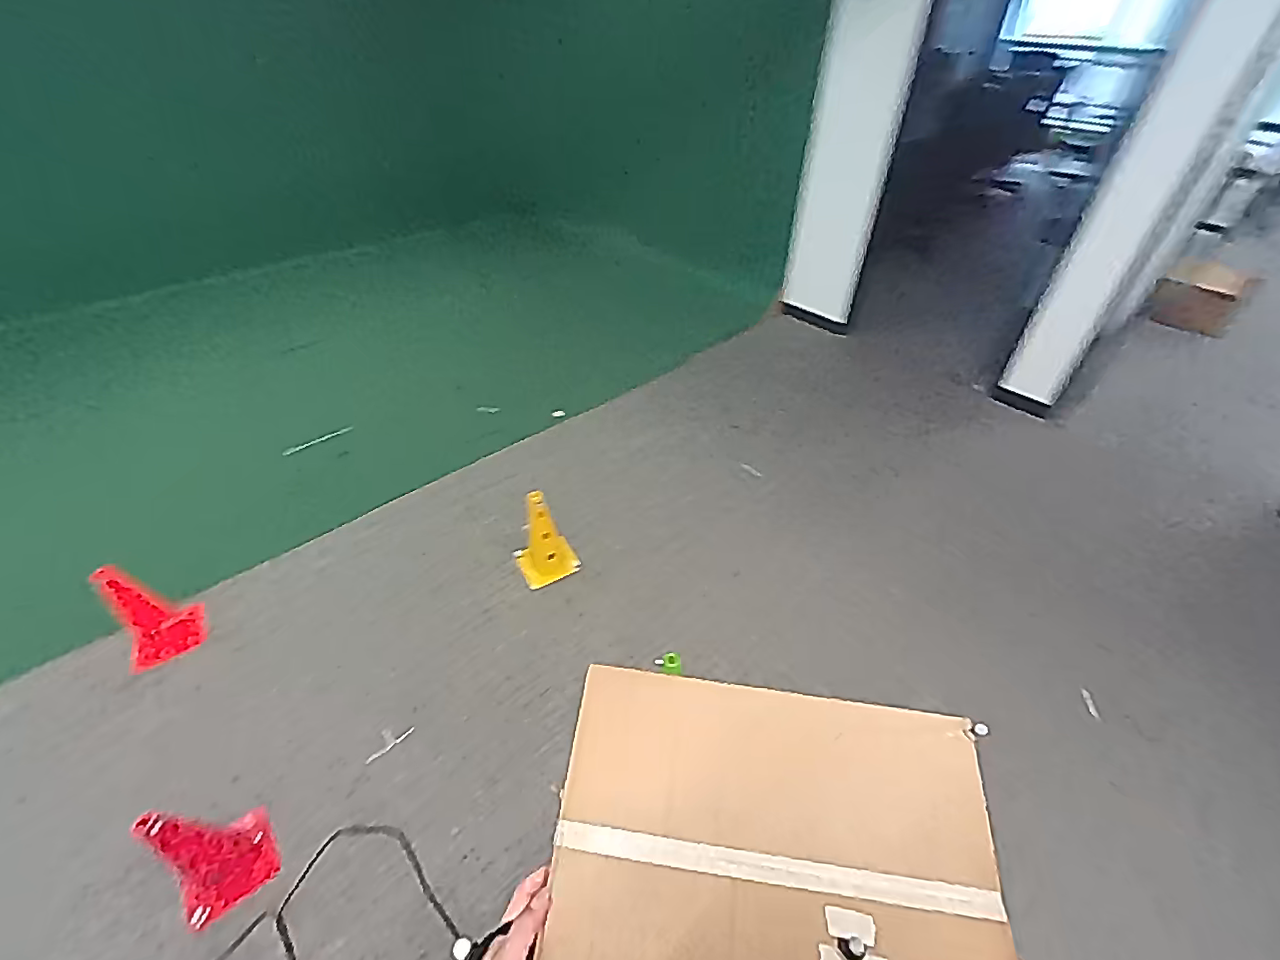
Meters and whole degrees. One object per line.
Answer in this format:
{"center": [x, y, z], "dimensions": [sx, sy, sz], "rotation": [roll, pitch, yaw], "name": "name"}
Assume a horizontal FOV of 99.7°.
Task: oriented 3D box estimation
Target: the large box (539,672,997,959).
{"center": [0.115, 0.438, 0.629], "dimensions": [0.408, 0.320, 0.320], "rotation": [6, 58, 3], "name": "large box"}

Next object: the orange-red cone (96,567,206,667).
{"center": [-1.609, 0.406, 1.739], "dimensions": [0.199, 0.360, 0.198], "rotation": [-25, 47, -22], "name": "orange-red cone"}
